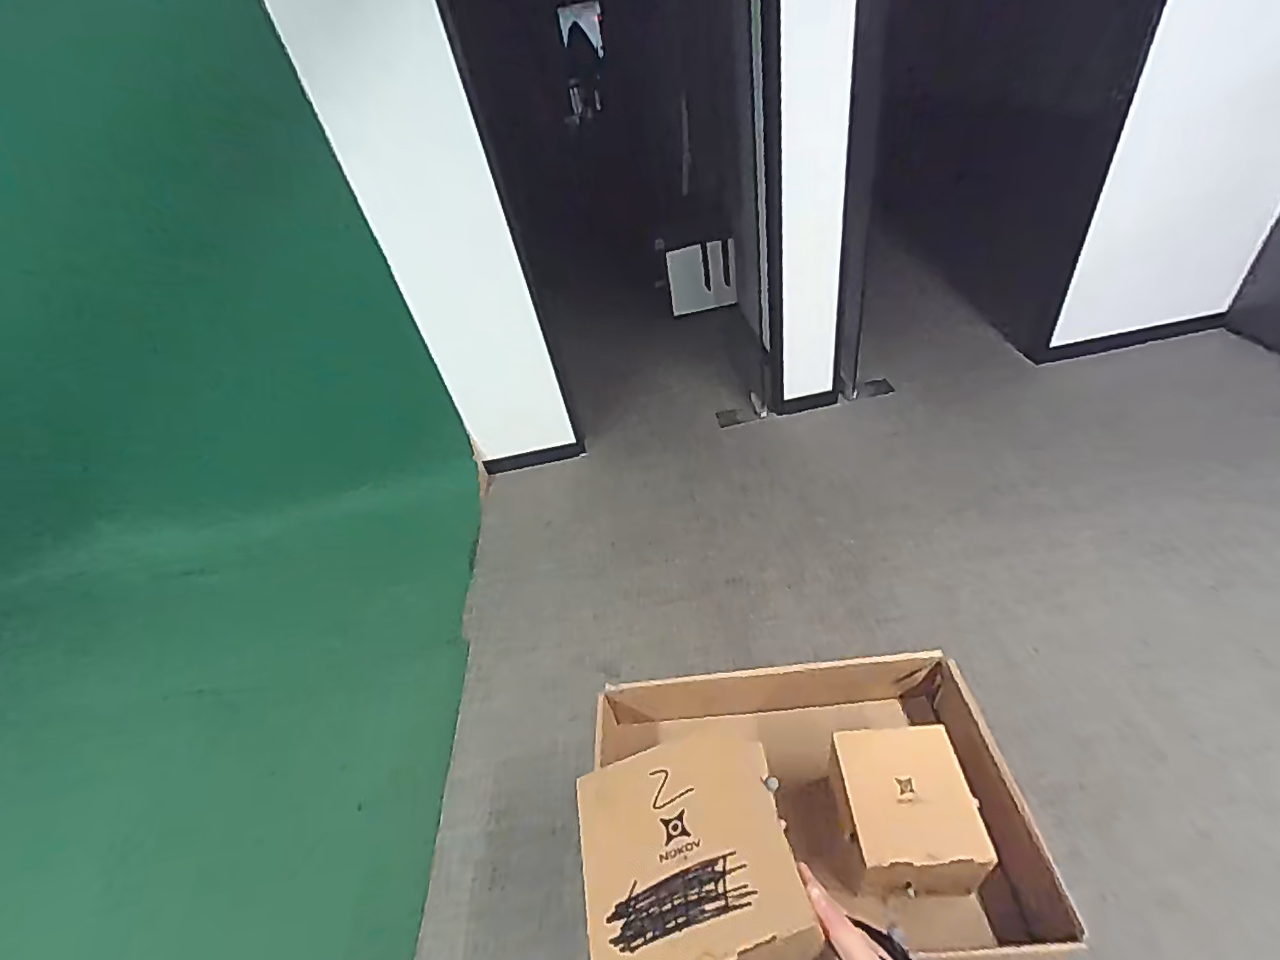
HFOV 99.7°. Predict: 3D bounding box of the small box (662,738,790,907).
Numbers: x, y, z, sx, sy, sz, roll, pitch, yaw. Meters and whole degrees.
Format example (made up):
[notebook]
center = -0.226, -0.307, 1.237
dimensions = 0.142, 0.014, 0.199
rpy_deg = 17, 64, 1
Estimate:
[small box]
center = 0.129, 0.530, 0.837
dimensions = 0.168, 0.176, 0.179
rpy_deg = -9, 42, 6
